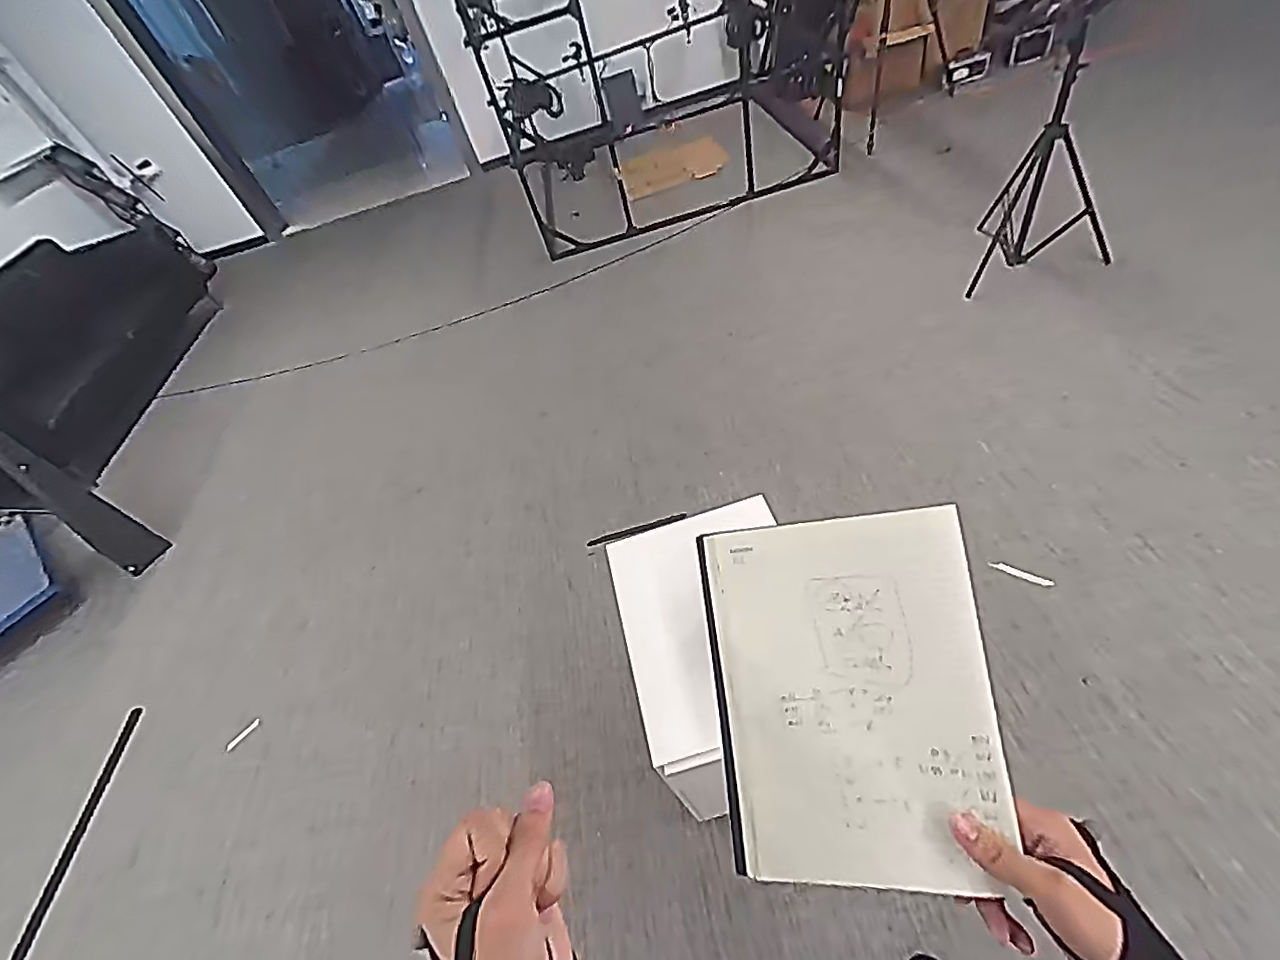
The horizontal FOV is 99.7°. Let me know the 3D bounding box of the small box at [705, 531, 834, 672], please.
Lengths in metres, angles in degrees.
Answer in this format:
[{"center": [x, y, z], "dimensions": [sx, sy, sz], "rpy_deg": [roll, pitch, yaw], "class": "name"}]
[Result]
[{"center": [0.244, 0.233, 1.029], "dimensions": [0.179, 0.176, 0.168], "rpy_deg": [-25, 47, -4], "class": "small box"}]
